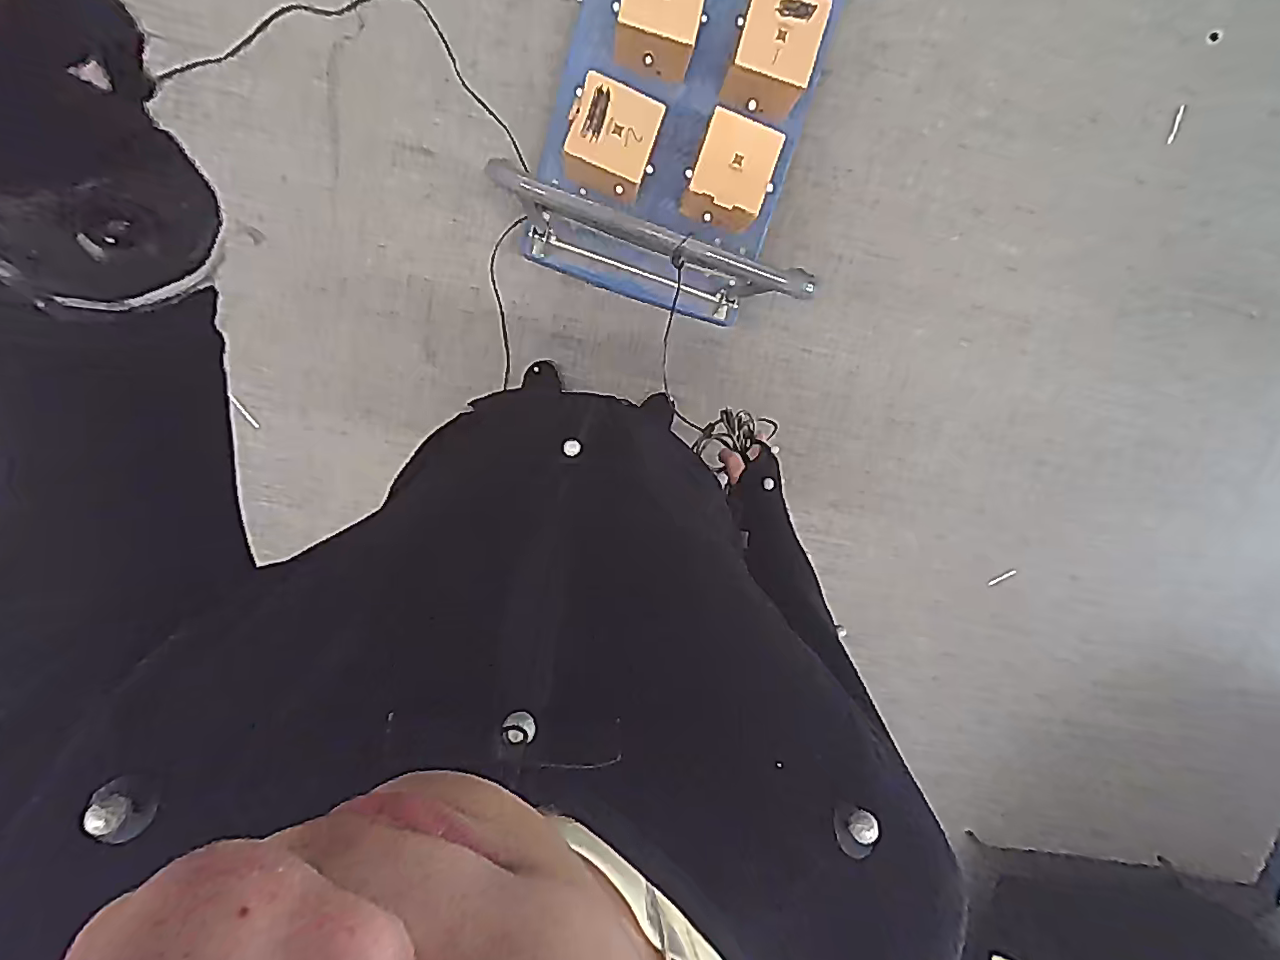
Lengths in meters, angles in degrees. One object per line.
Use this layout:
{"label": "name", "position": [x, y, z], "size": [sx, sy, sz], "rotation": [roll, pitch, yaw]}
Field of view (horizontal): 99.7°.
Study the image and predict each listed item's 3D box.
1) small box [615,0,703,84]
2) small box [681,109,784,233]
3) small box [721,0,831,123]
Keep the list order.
{"label": "small box", "position": [0.043, -1.007, 1.170], "size": [0.168, 0.176, 0.179], "rotation": [13, 101, -8]}
{"label": "small box", "position": [0.203, -0.701, 1.249], "size": [0.168, 0.176, 0.179], "rotation": [17, 101, -8]}
{"label": "small box", "position": [0.291, -0.944, 1.201], "size": [0.168, 0.176, 0.179], "rotation": [15, 101, -6]}
